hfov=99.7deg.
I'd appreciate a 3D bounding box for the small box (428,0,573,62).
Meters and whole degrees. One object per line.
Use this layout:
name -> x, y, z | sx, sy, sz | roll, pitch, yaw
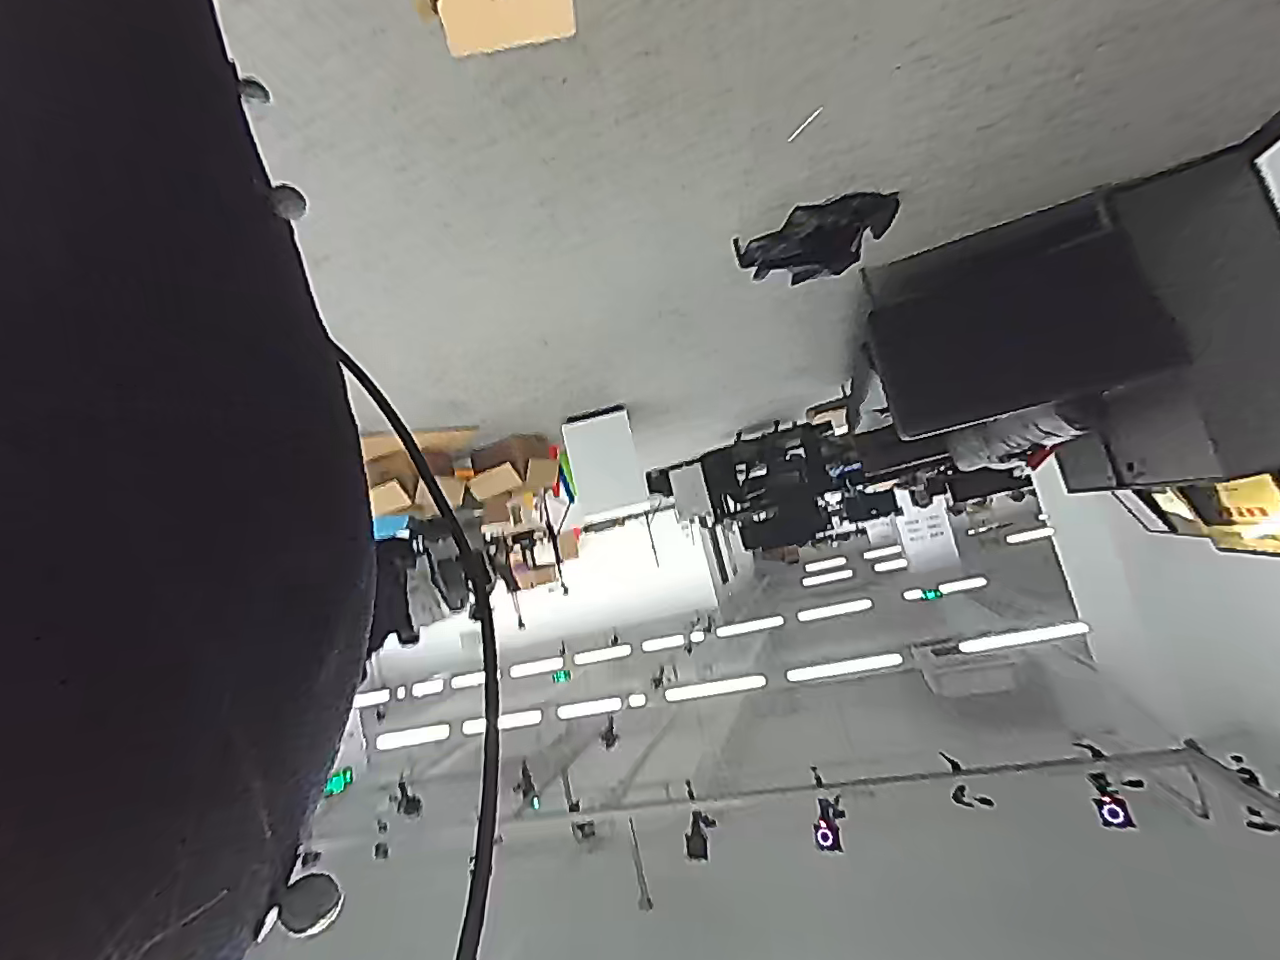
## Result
small box -> -0.193, -0.679, 0.672 | 0.179, 0.176, 0.168 | -13, 173, -3
